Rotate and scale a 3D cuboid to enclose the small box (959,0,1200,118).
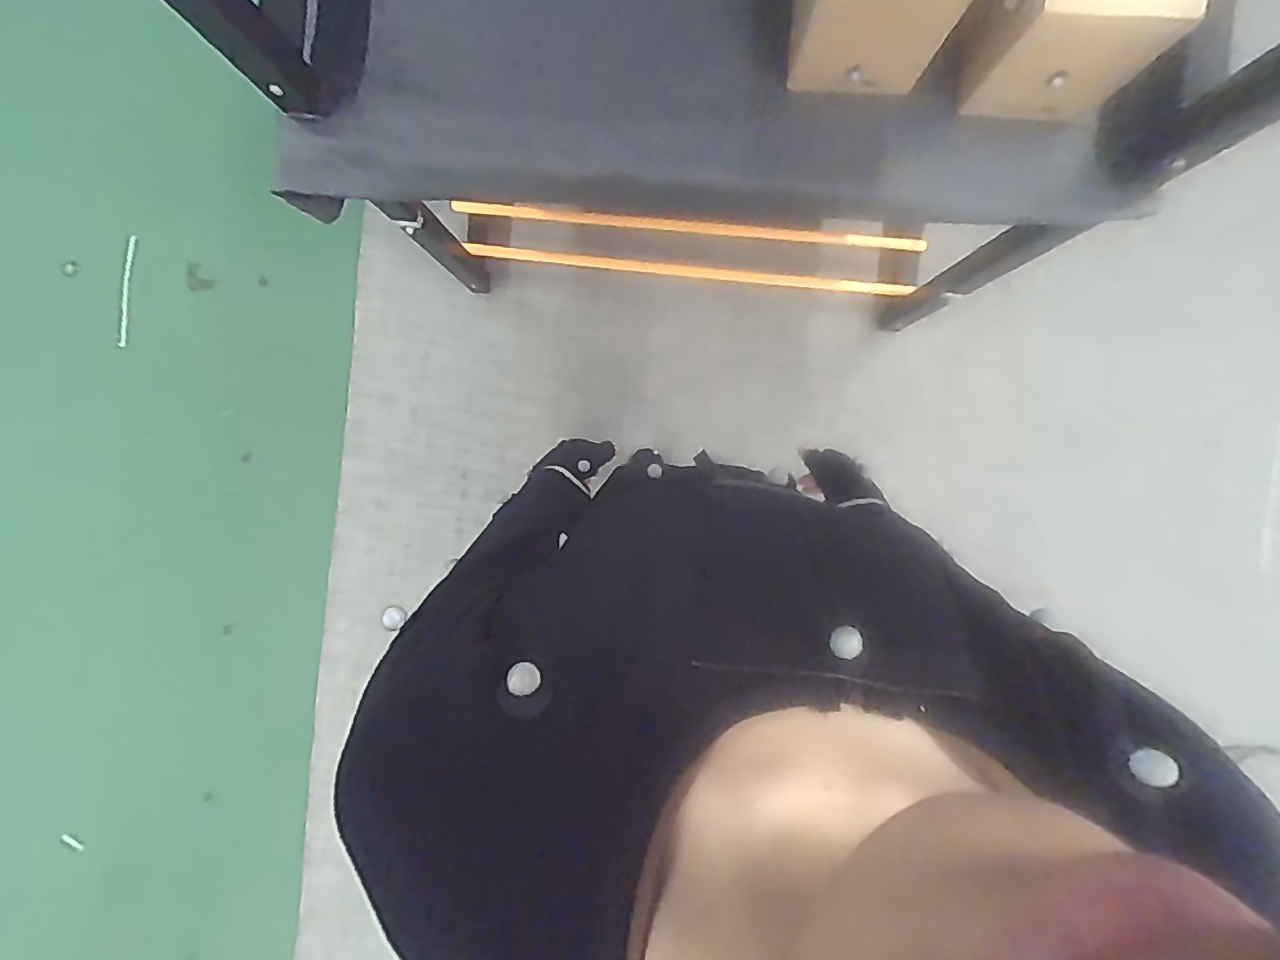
[{"bbox_3d":[0.511,-0.571,0.647,0.168,0.176,0.179,4,90,2],"label":"small box"}]
